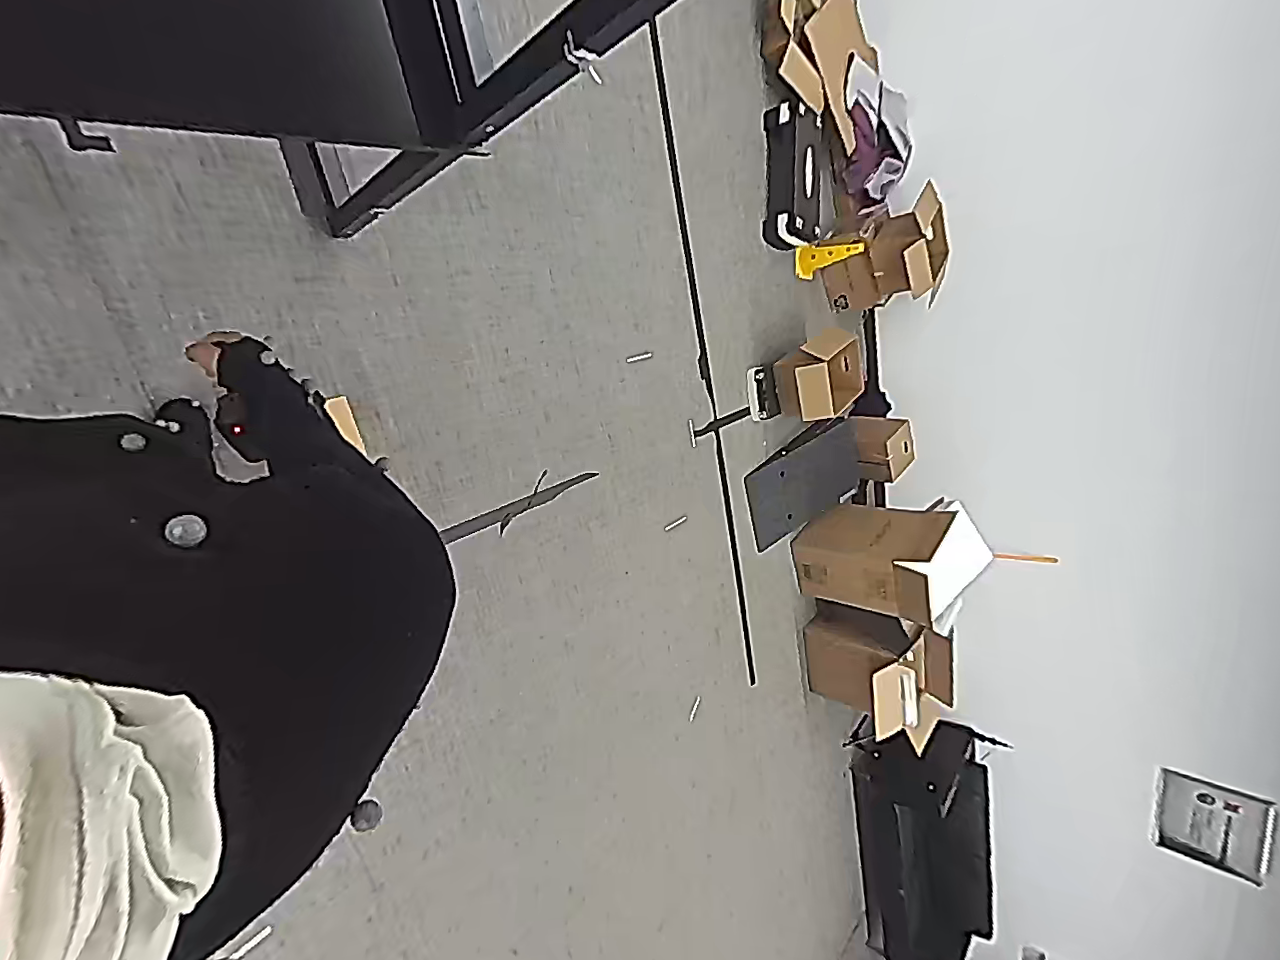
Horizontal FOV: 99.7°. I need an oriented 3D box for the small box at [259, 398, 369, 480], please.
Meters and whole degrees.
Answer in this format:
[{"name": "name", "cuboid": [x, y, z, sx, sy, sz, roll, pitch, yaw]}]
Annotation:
[{"name": "small box", "cuboid": [-0.841, -0.111, 1.394, 0.179, 0.176, 0.168, -27, 113, -40]}]
